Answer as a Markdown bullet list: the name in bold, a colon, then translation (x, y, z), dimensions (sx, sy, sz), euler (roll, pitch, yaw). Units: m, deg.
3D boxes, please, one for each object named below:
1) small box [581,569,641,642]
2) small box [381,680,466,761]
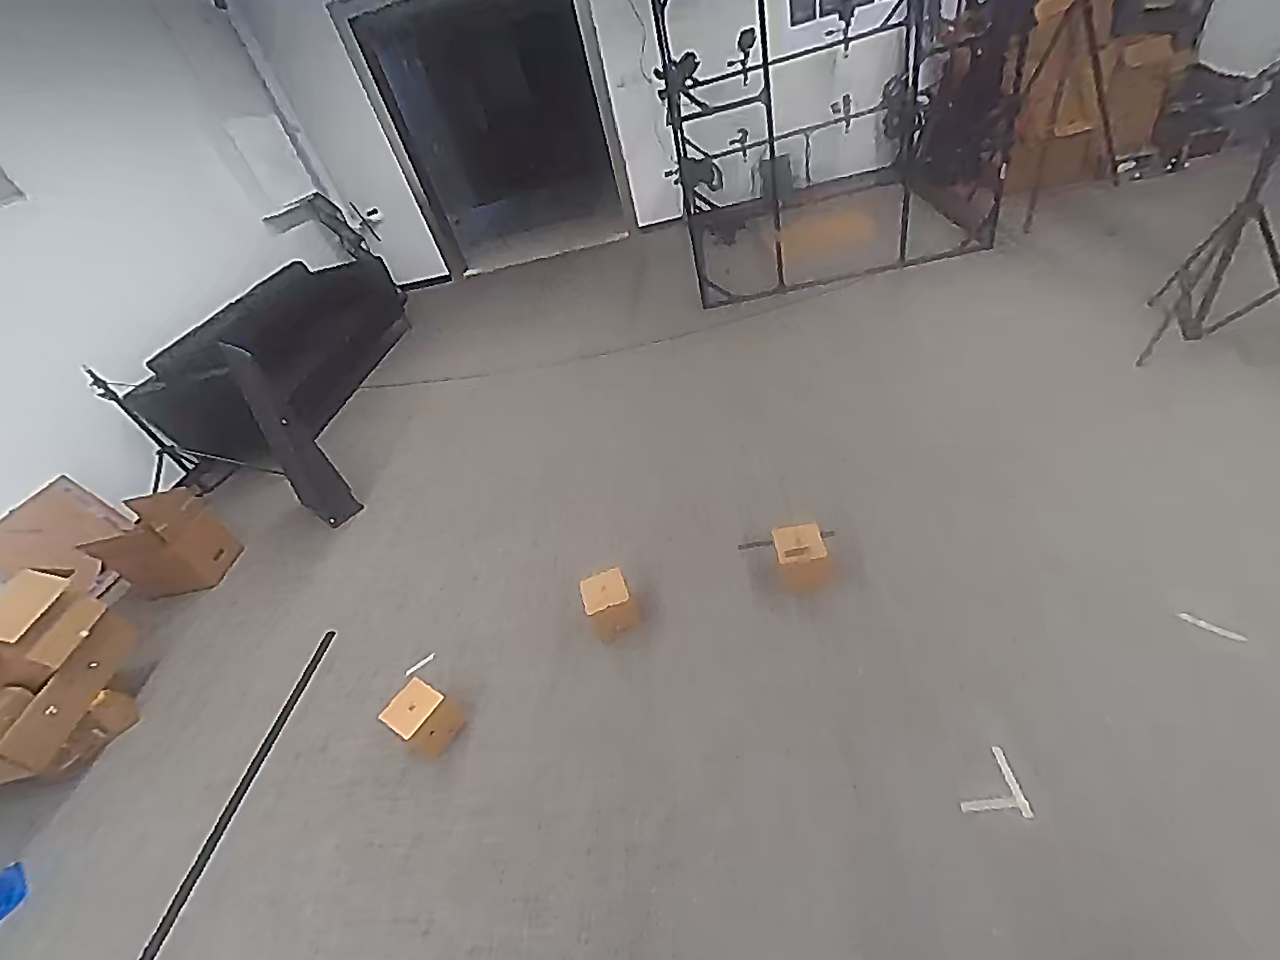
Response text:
- **small box**: translation (-0.110, 0.476, 2.047), dimensions (0.168, 0.176, 0.179), euler (-21, 38, -4)
- **small box**: translation (-0.735, 0.829, 1.854), dimensions (0.179, 0.176, 0.168), euler (13, 48, 34)
